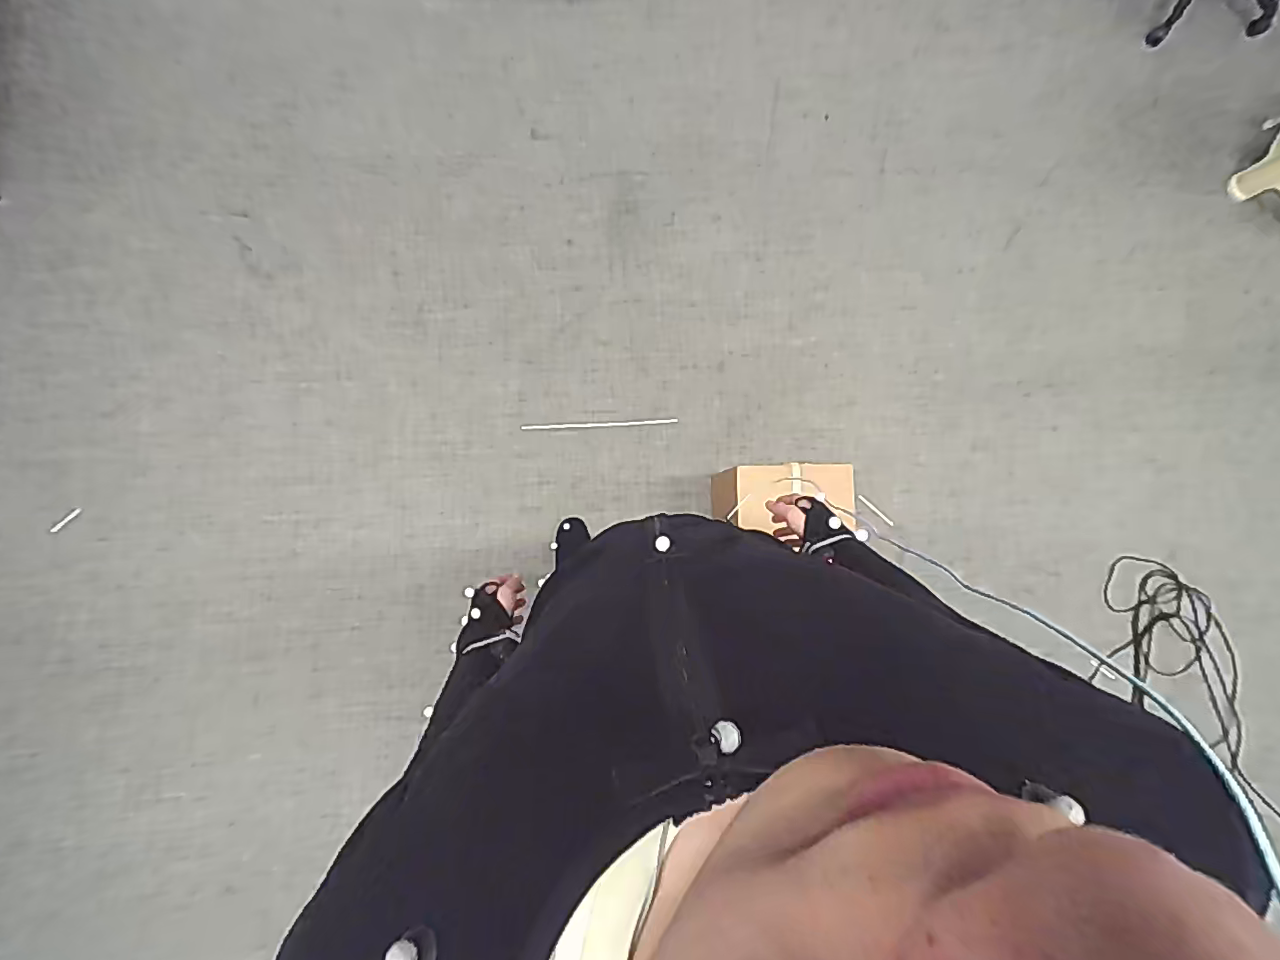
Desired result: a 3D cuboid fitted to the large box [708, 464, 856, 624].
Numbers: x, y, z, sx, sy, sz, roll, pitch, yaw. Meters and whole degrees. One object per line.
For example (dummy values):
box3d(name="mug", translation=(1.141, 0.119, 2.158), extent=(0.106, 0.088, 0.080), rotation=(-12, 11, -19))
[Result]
box3d(name="large box", translation=(0.383, 0.168, 1.534), extent=(0.320, 0.320, 0.408), rotation=(-1, 87, -5))
